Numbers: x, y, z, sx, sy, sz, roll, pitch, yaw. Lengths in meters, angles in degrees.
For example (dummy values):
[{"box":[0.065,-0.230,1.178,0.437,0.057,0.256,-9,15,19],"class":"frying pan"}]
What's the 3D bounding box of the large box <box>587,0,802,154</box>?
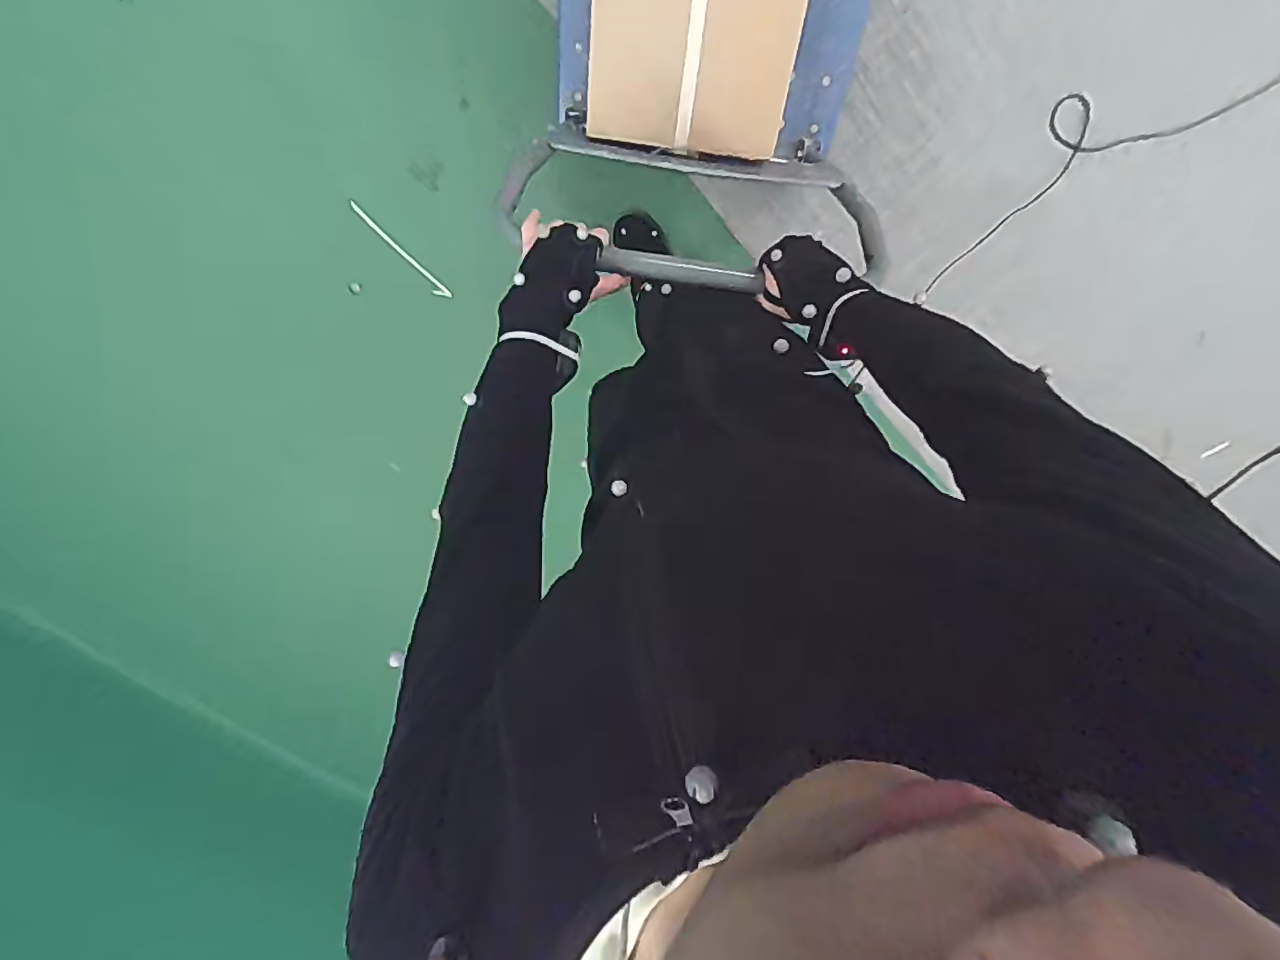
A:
[{"box":[0.095,-0.798,0.900,0.320,0.320,0.408,7,125,-1],"class":"large box"}]
